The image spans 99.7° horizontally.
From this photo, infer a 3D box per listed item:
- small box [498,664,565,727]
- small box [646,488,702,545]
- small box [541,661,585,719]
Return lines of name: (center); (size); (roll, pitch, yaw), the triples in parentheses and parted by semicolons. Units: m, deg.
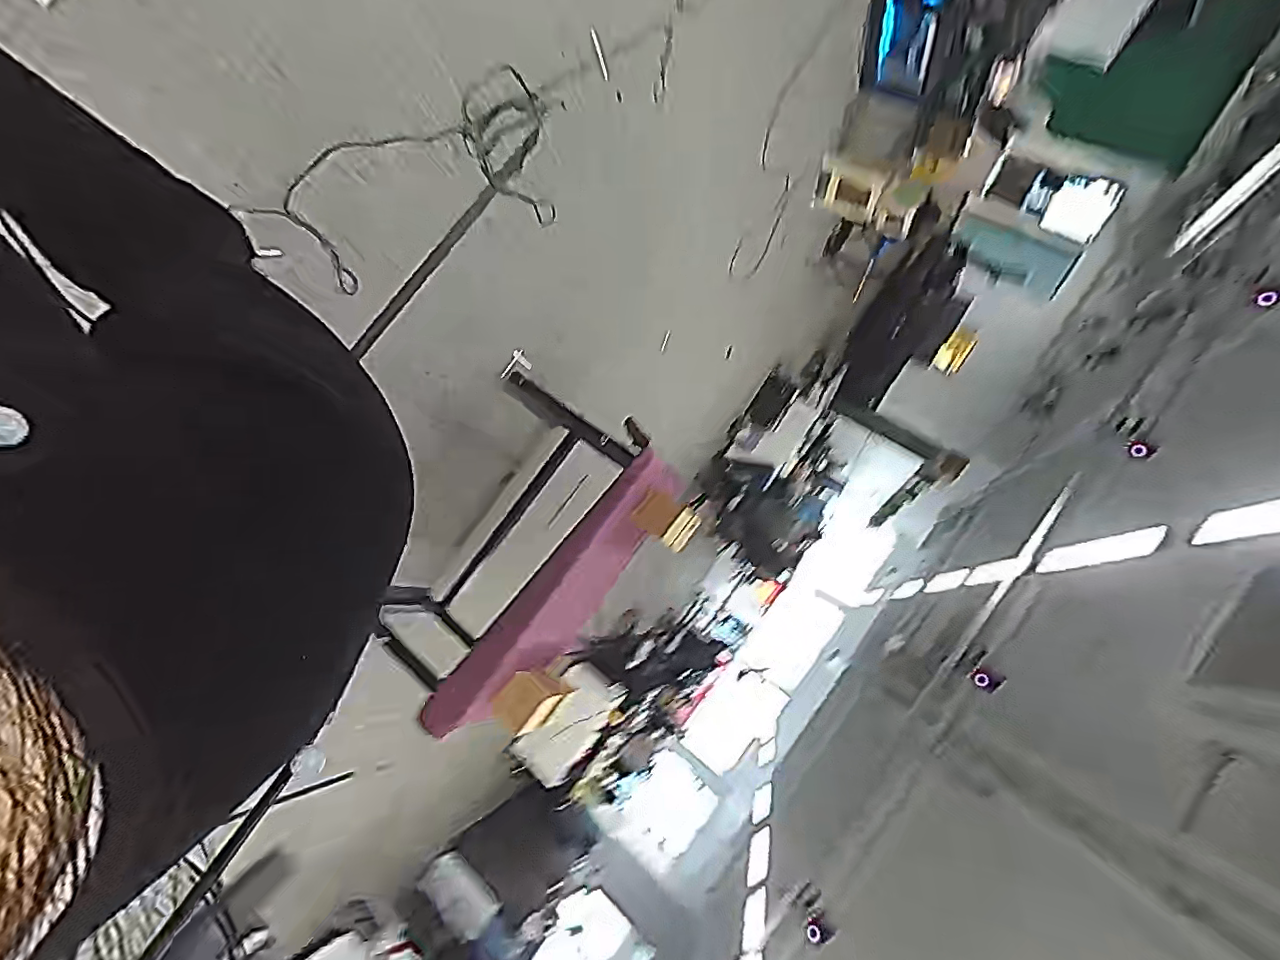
small box: (-0.436, 0.856, 2.165); (0.168, 0.176, 0.179); (-54, 161, -8)
small box: (0.153, 0.160, 2.409); (0.179, 0.176, 0.168); (-52, 158, -5)
small box: (-0.378, 0.913, 2.373); (0.179, 0.176, 0.168); (-53, 160, -4)
